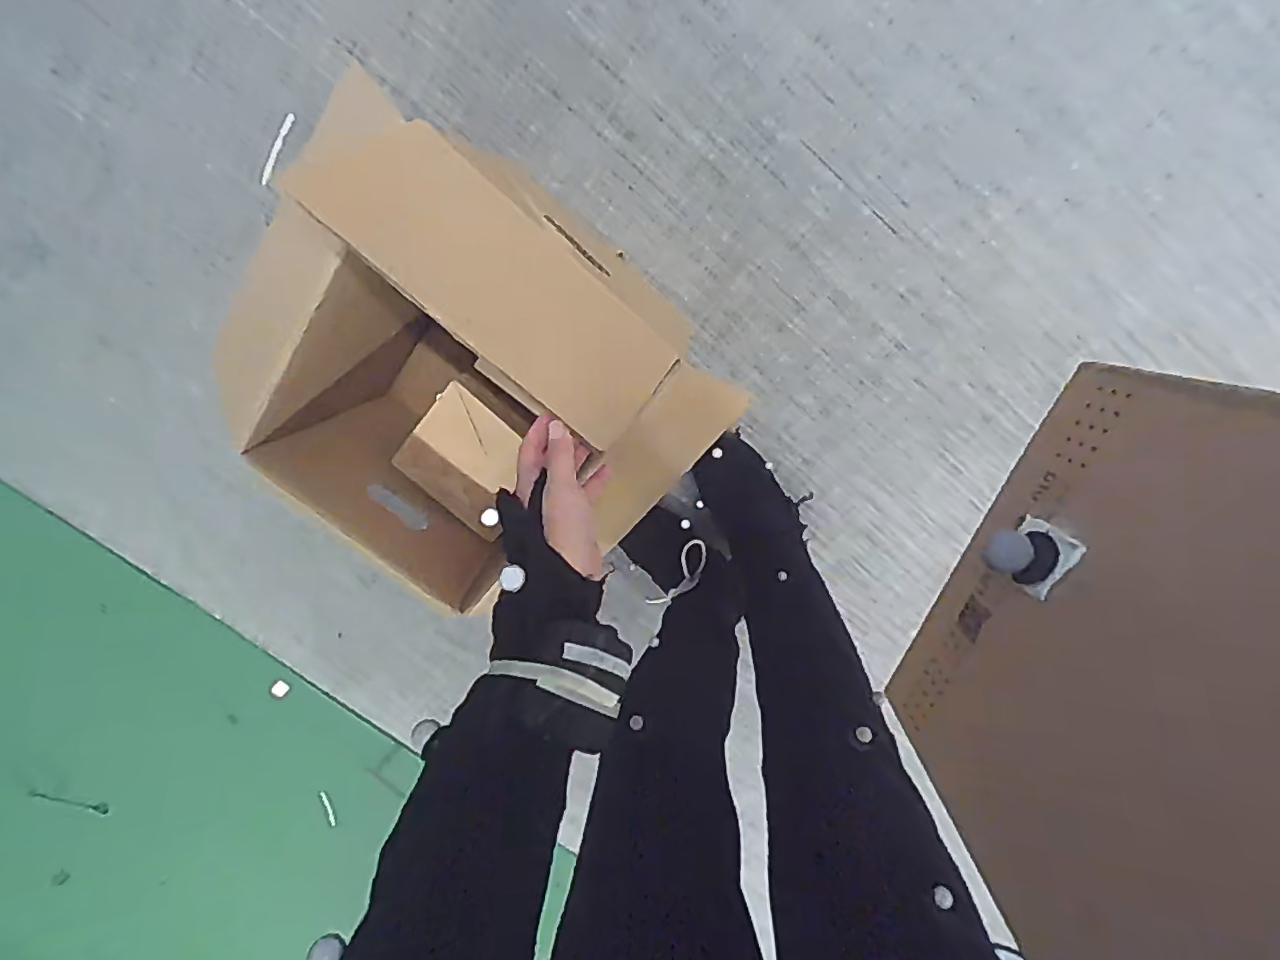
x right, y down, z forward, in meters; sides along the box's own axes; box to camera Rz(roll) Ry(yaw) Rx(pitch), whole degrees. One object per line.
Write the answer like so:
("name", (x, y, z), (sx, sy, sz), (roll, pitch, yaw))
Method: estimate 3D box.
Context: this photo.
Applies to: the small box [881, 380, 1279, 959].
("small box", (0.213, 0.077, 0.166), (0.179, 0.176, 0.168), (17, 108, -2))
